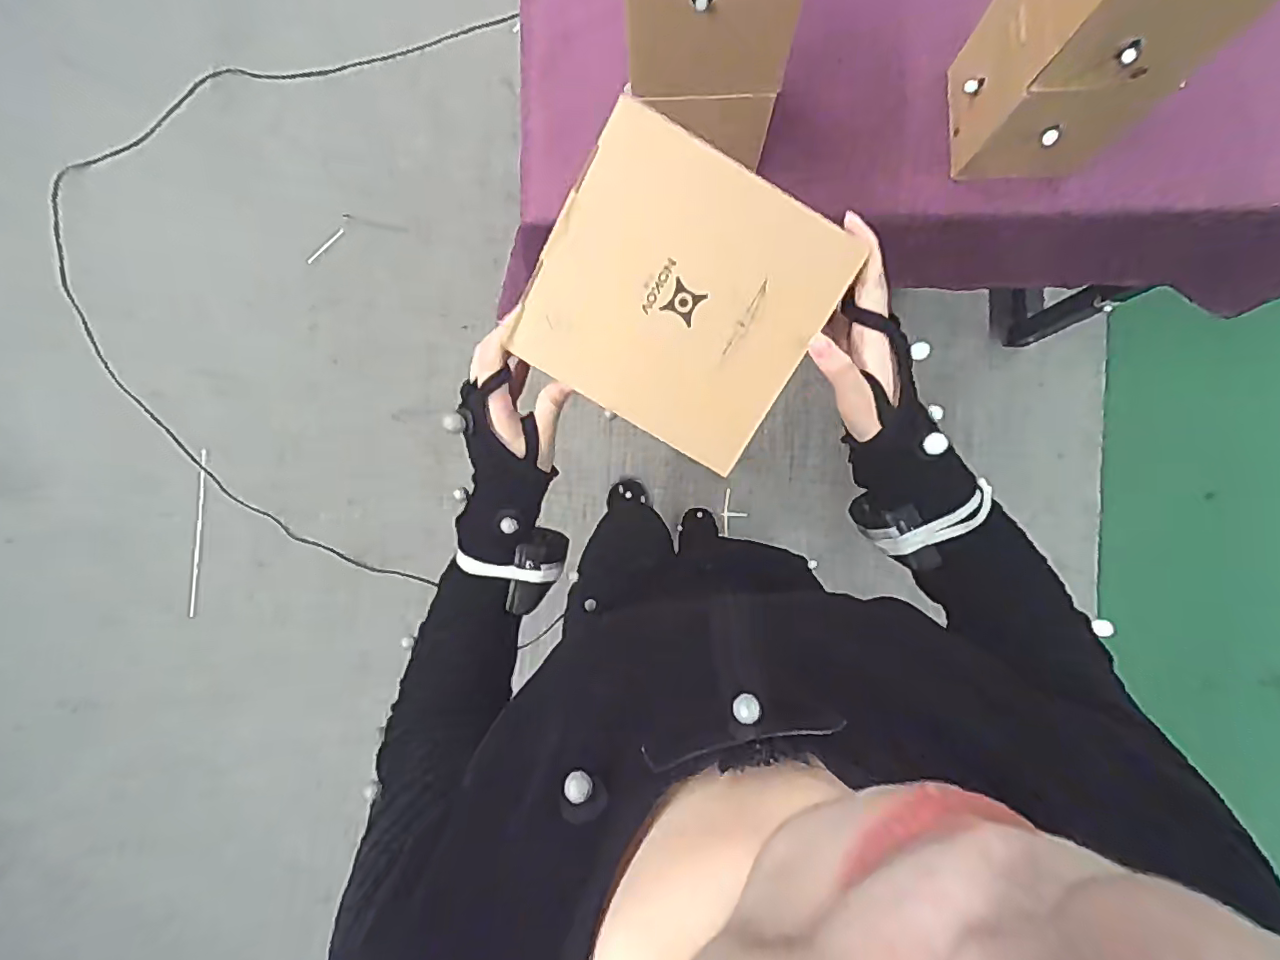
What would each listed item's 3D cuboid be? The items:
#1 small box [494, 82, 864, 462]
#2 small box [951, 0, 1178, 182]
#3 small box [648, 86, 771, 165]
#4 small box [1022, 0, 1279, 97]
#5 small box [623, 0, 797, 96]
[{"bbox_3d":[0.024,-0.139,0.411,0.179,0.176,0.168,31,104,-5],"label":"small box"},{"bbox_3d":[0.526,-0.512,0.699,0.179,0.176,0.168,0,87,4],"label":"small box"},{"bbox_3d":[0.079,-0.524,0.722,0.168,0.176,0.179,1,86,2],"label":"small box"},{"bbox_3d":[0.514,-0.528,0.537,0.168,0.176,0.179,1,87,3],"label":"small box"},{"bbox_3d":[0.070,-0.533,0.557,0.179,0.176,0.168,0,87,2],"label":"small box"}]
